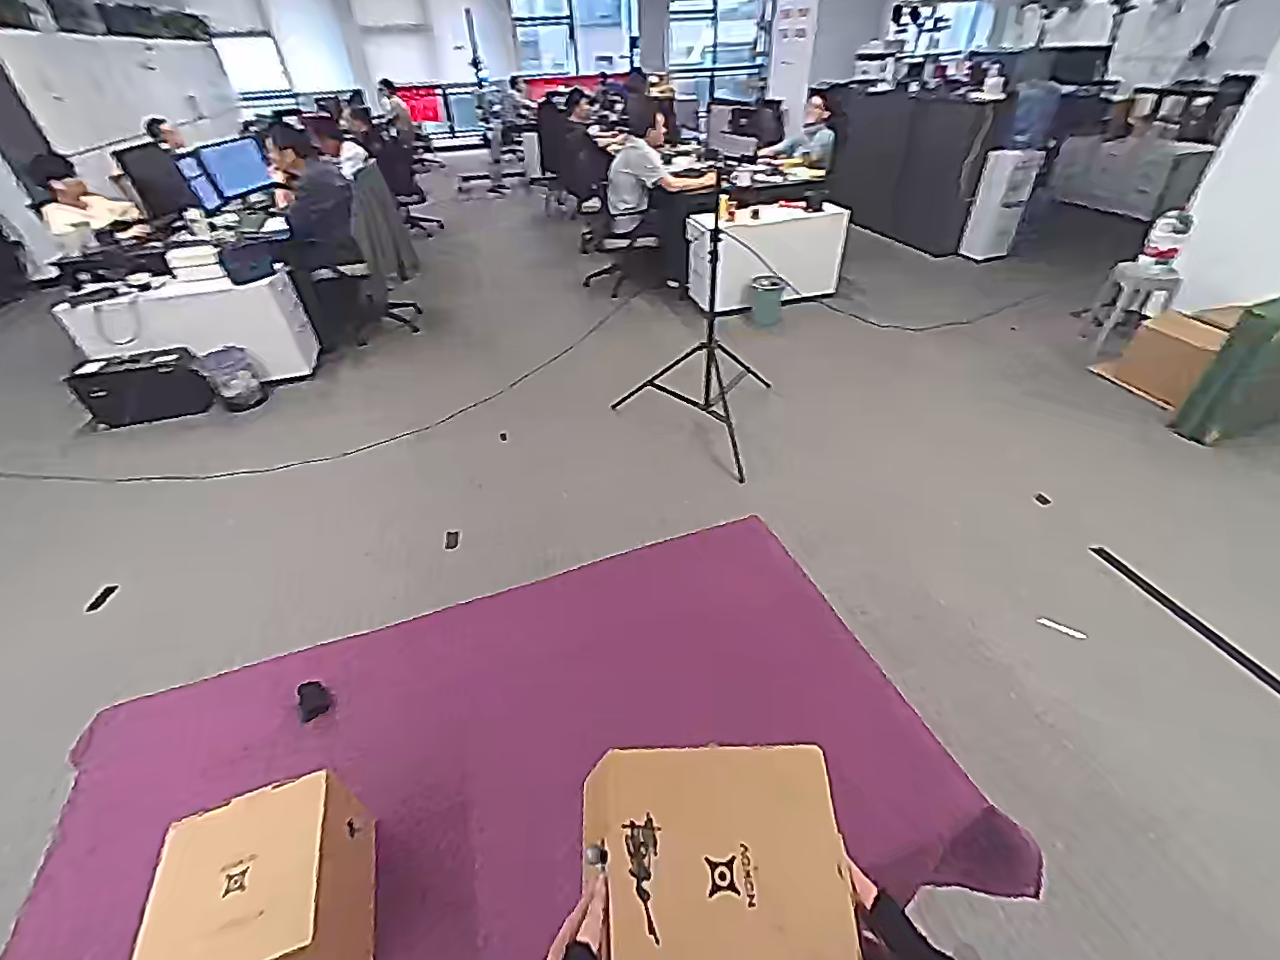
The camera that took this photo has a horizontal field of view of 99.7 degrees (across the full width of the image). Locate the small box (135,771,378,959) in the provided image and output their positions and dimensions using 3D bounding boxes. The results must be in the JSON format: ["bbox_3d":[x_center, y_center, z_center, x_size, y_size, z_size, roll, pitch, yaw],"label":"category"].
[{"bbox_3d":[-0.410,0.477,0.610,0.168,0.176,0.179,-16,41,-15],"label":"small box"}]

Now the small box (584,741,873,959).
[{"bbox_3d":[0.054,0.317,0.438,0.179,0.176,0.168,5,53,-10],"label":"small box"}]
